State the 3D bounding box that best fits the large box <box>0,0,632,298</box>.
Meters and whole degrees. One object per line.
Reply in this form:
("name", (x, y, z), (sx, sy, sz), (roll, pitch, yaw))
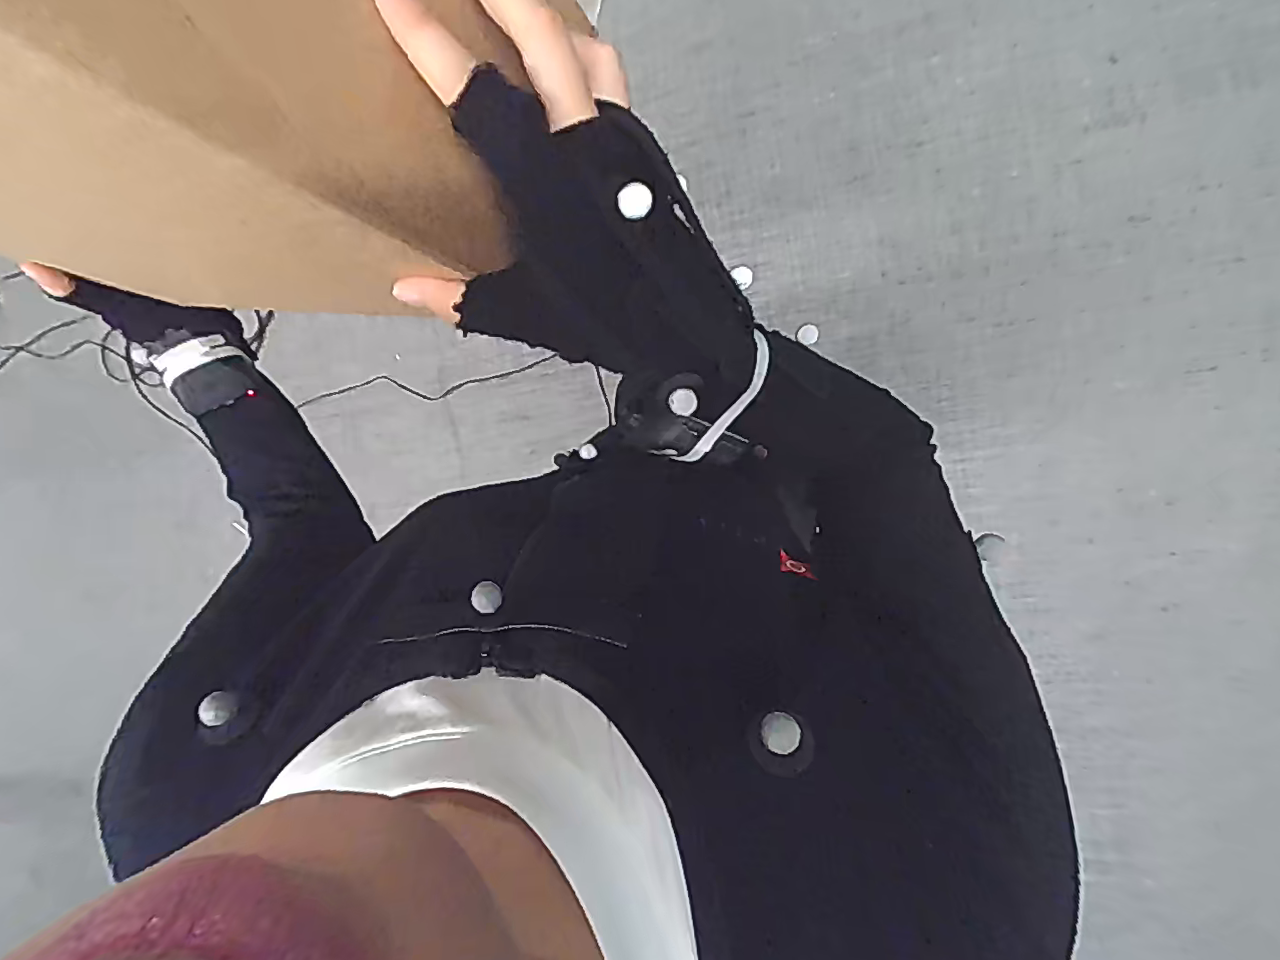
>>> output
("large box", (-0.244, -0.283, 0.230), (0.408, 0.320, 0.320), (11, 92, 27))
